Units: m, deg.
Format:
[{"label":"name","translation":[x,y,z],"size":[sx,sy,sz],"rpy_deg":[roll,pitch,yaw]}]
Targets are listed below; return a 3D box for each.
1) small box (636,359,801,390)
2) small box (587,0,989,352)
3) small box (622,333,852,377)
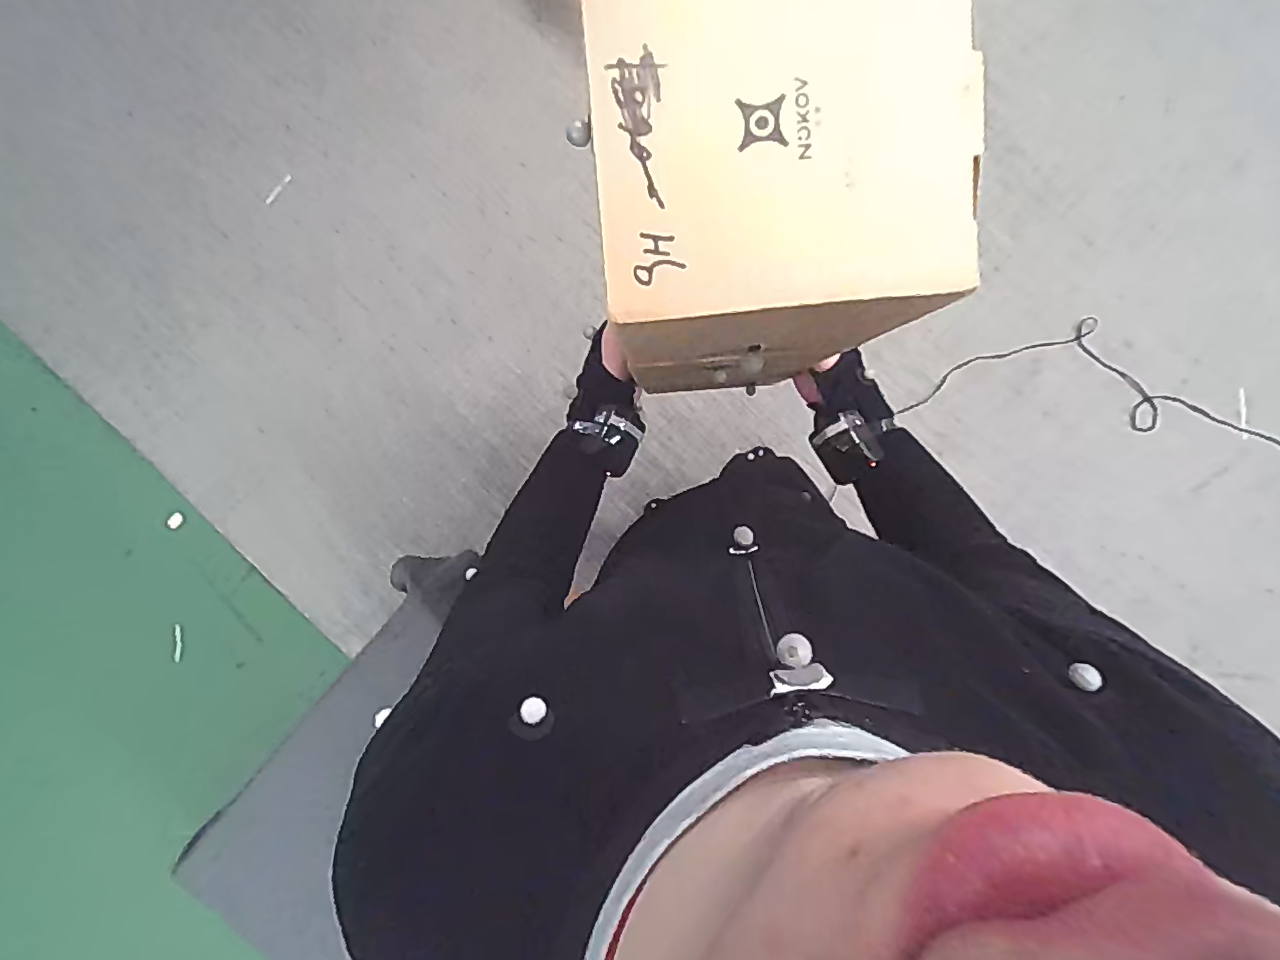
[{"label":"small box","translation":[0.083,-0.200,0.643],"size":[0.179,0.176,0.168],"rpy_deg":[-4,94,5]},{"label":"small box","translation":[0.067,-0.172,0.318],"size":[0.179,0.176,0.168],"rpy_deg":[-3,95,2]},{"label":"small box","translation":[0.072,-0.186,0.480],"size":[0.179,0.176,0.168],"rpy_deg":[-4,95,2]}]
